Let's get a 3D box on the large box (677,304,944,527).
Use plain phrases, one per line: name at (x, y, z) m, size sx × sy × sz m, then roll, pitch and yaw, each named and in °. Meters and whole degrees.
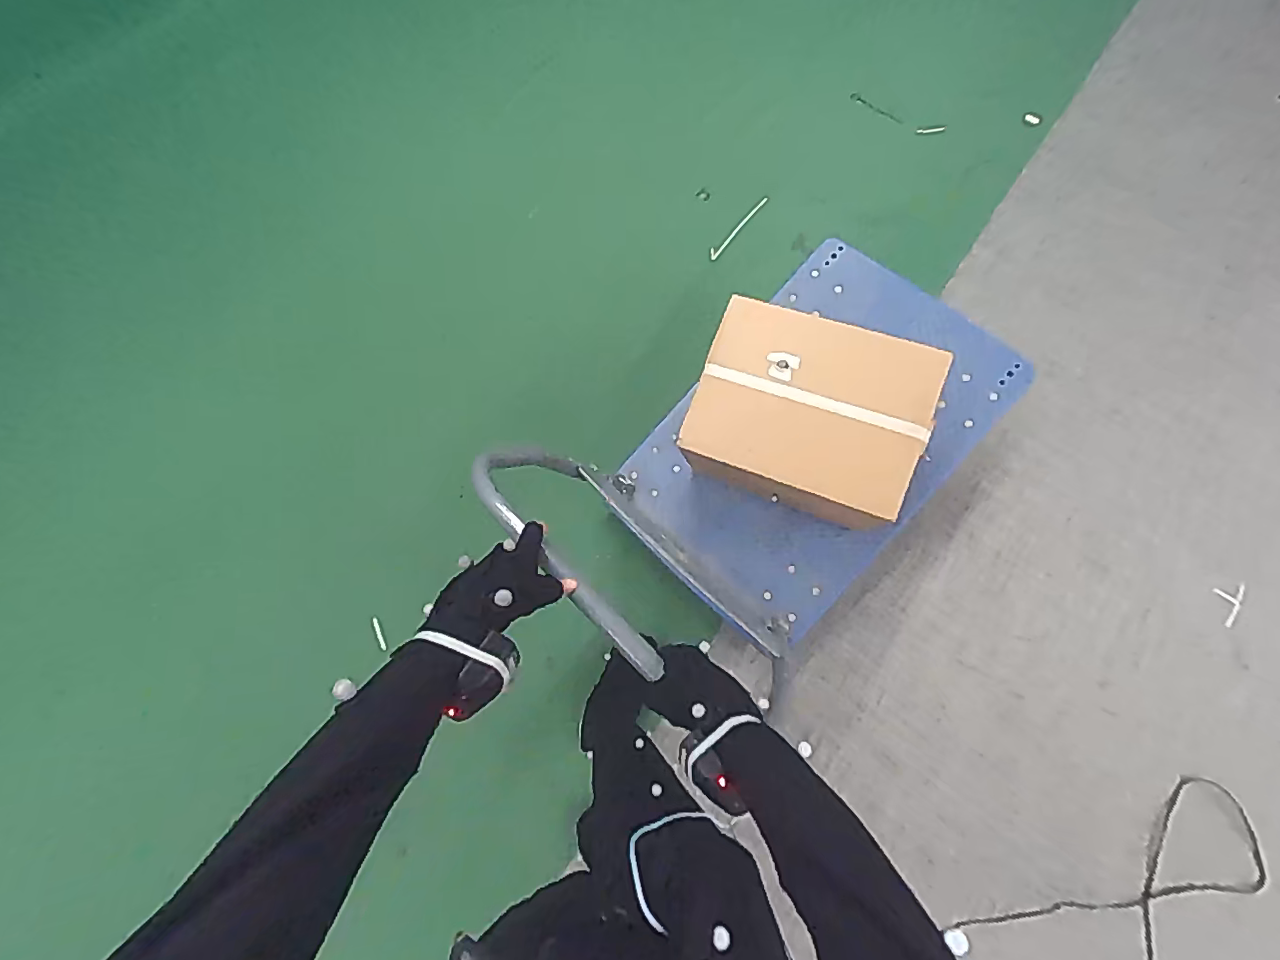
large box at (0.336, -0.116, 1.125) m, size 0.408 × 0.320 × 0.320 m, roll 20°, pitch 85°, yaw 16°
